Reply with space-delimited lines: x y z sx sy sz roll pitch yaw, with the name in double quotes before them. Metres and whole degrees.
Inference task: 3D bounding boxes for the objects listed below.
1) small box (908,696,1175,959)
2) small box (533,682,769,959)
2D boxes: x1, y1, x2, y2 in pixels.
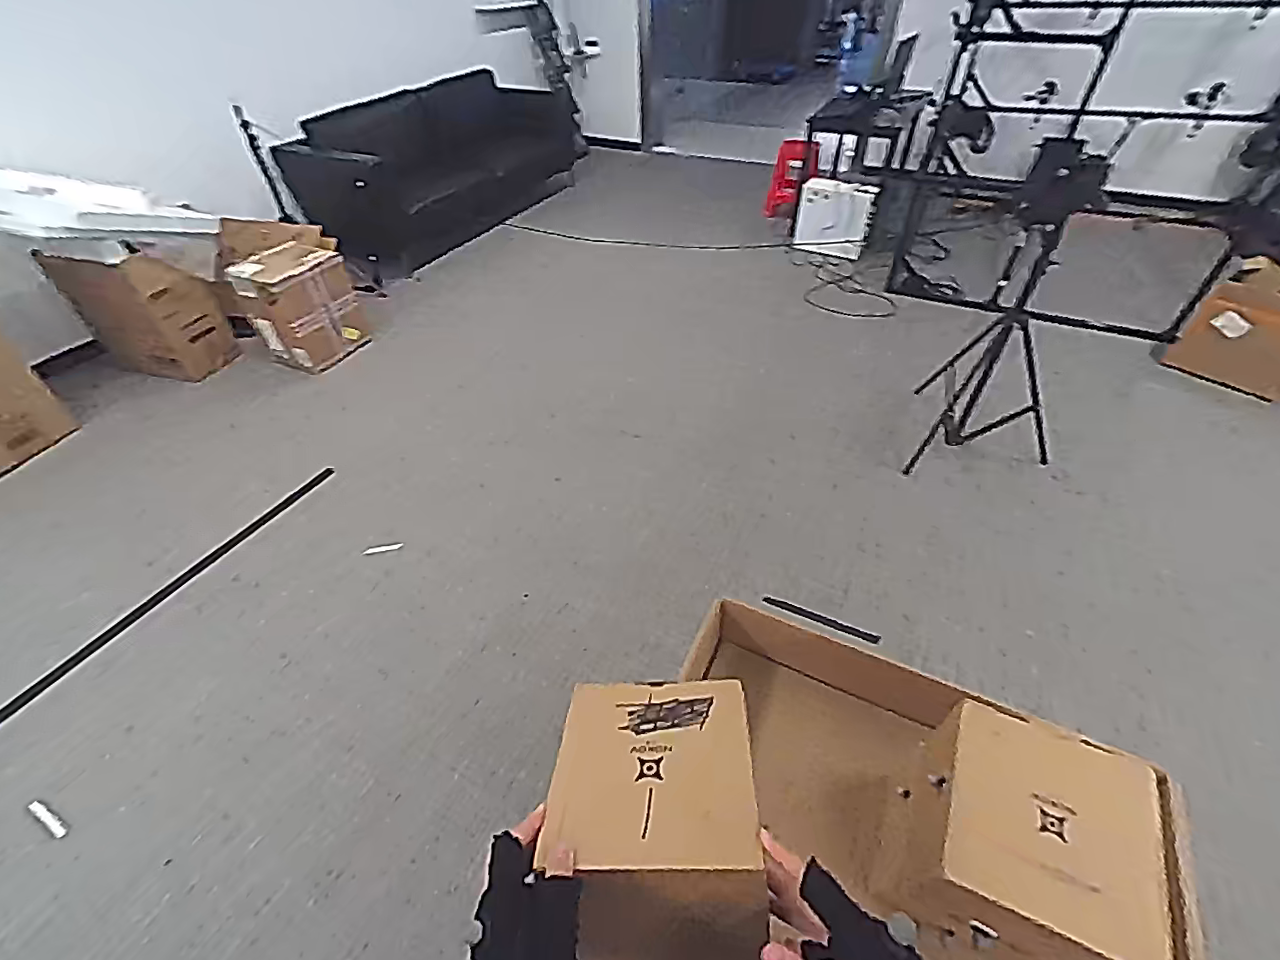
"small box" 0.391 0.362 0.555 0.168 0.176 0.179 16 53 23
"small box" 0.019 0.306 0.477 0.168 0.176 0.179 -5 21 7
